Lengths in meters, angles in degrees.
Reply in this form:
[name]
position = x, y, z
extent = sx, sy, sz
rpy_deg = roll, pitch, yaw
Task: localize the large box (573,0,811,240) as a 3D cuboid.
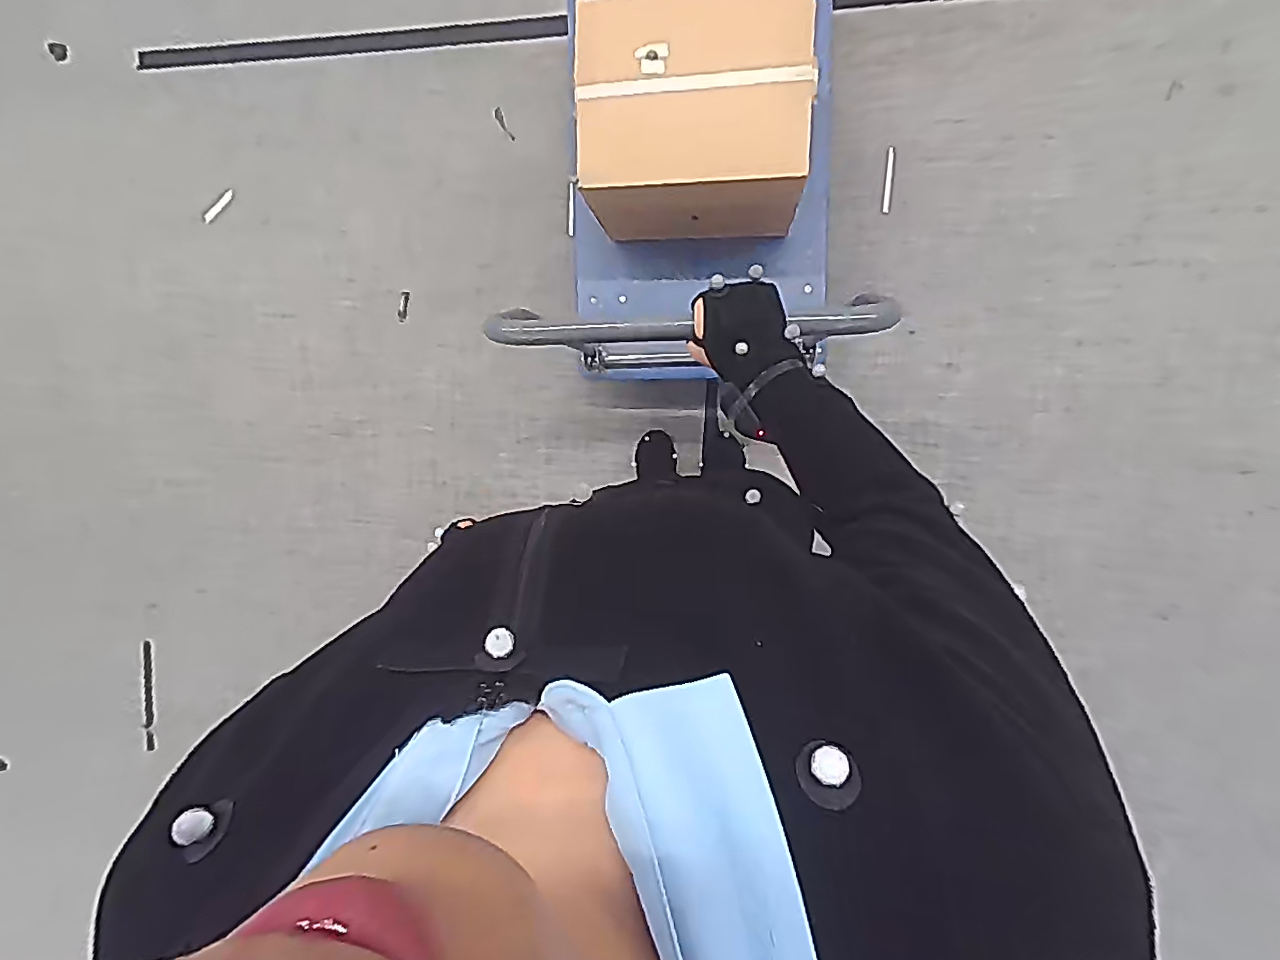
[large box]
position = 0.107, -0.683, 1.058
extent = 0.408, 0.320, 0.320
rpy_deg = 1, 96, 10
